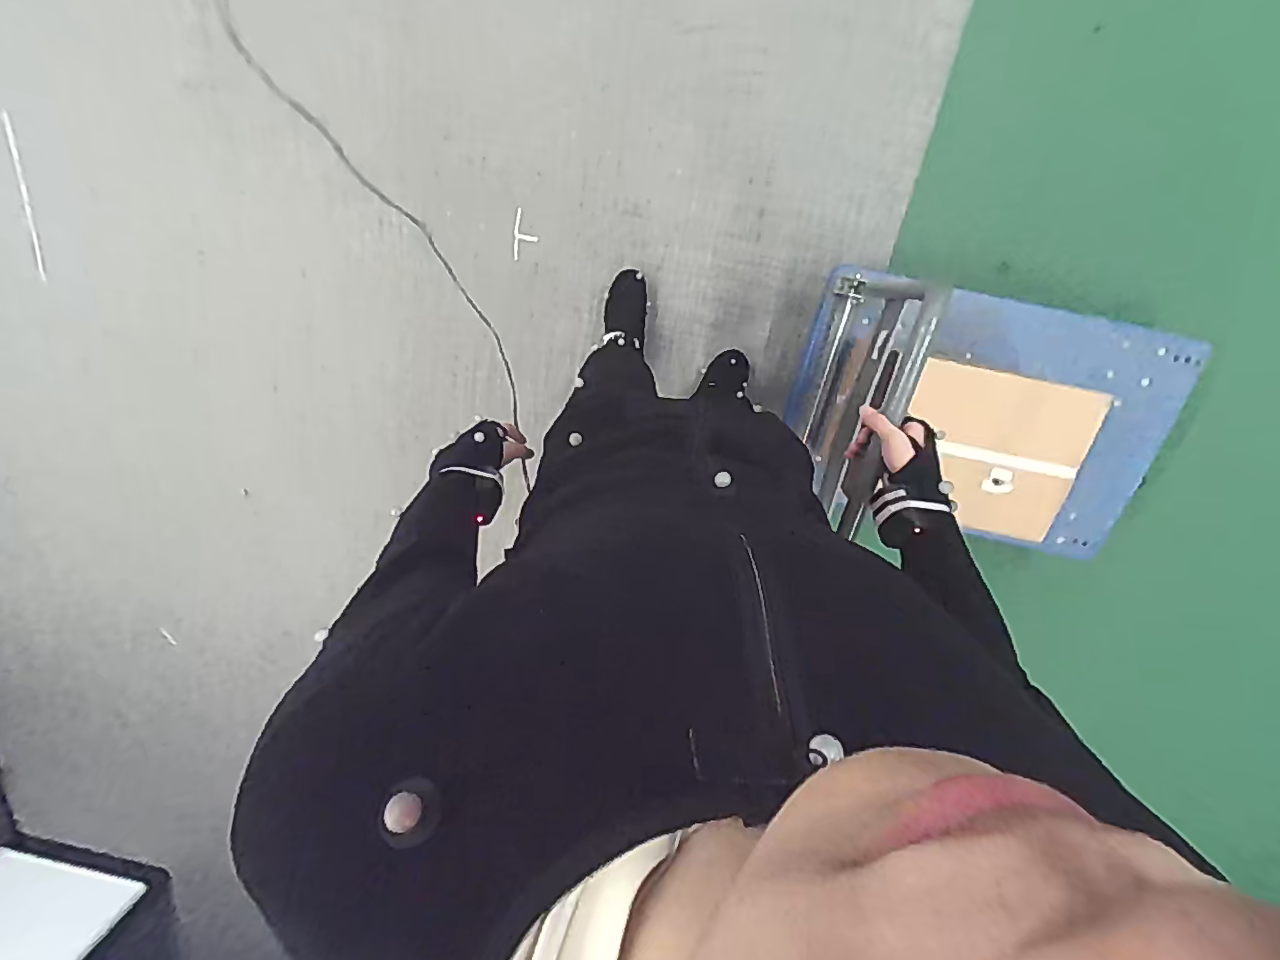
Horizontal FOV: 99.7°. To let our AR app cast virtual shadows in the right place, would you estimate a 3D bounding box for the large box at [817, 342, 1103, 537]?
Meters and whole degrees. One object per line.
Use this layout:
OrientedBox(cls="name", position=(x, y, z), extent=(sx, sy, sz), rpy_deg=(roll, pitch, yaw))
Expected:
OrientedBox(cls="large box", position=(0.661, -0.110, 1.208), extent=(0.408, 0.320, 0.320), rpy_deg=(13, 111, 1))
